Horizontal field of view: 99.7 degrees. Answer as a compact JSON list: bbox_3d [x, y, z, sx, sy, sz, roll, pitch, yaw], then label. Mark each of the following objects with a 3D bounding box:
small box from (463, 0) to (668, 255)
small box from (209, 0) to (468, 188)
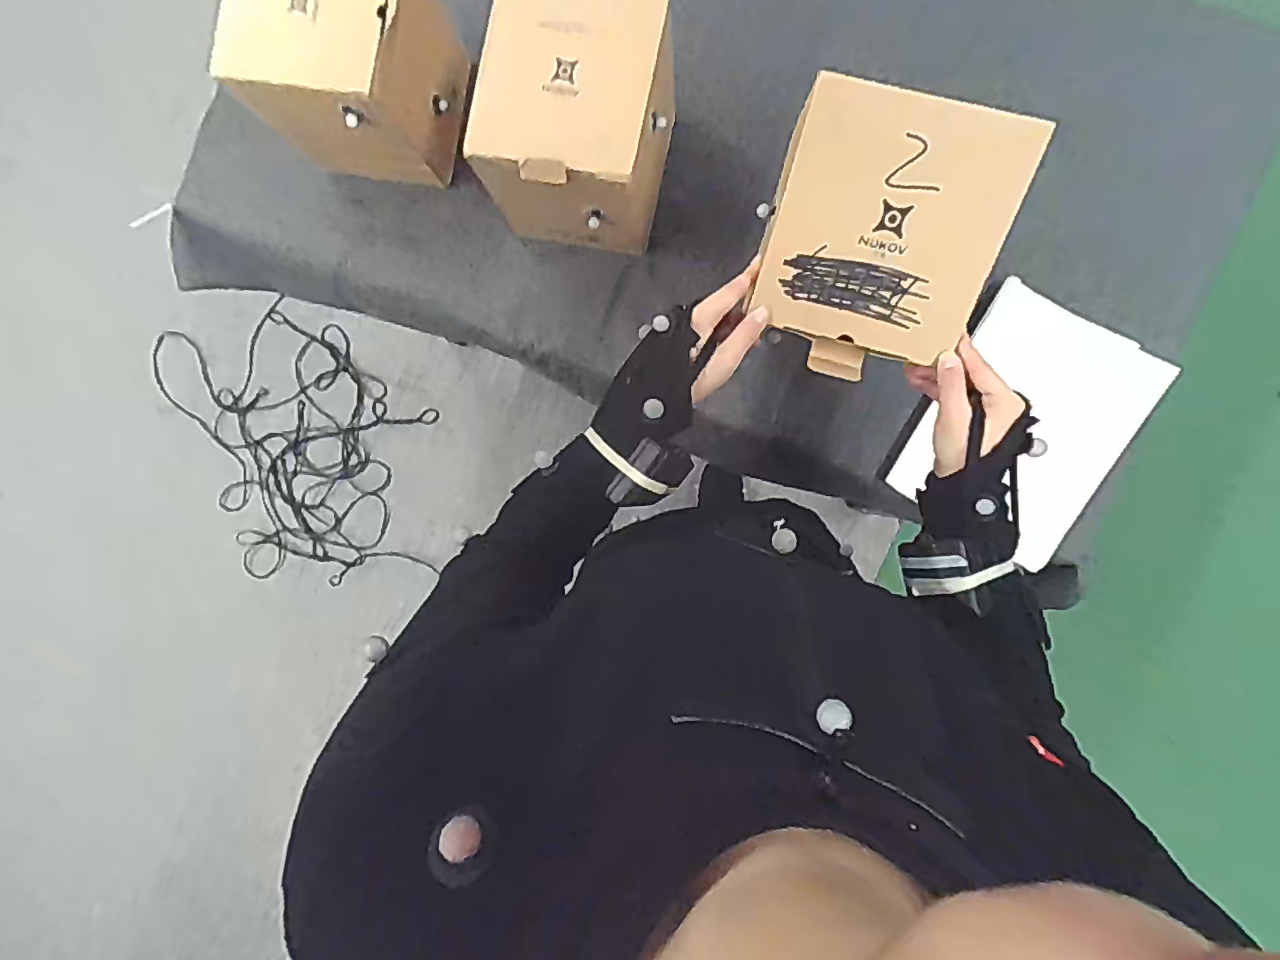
[{"bbox_3d":[-0.065,-0.367,0.580,0.168,0.176,0.179,12,89,4],"label":"small box"},{"bbox_3d":[-0.321,-0.458,0.607,0.179,0.176,0.168,10,89,5],"label":"small box"}]
